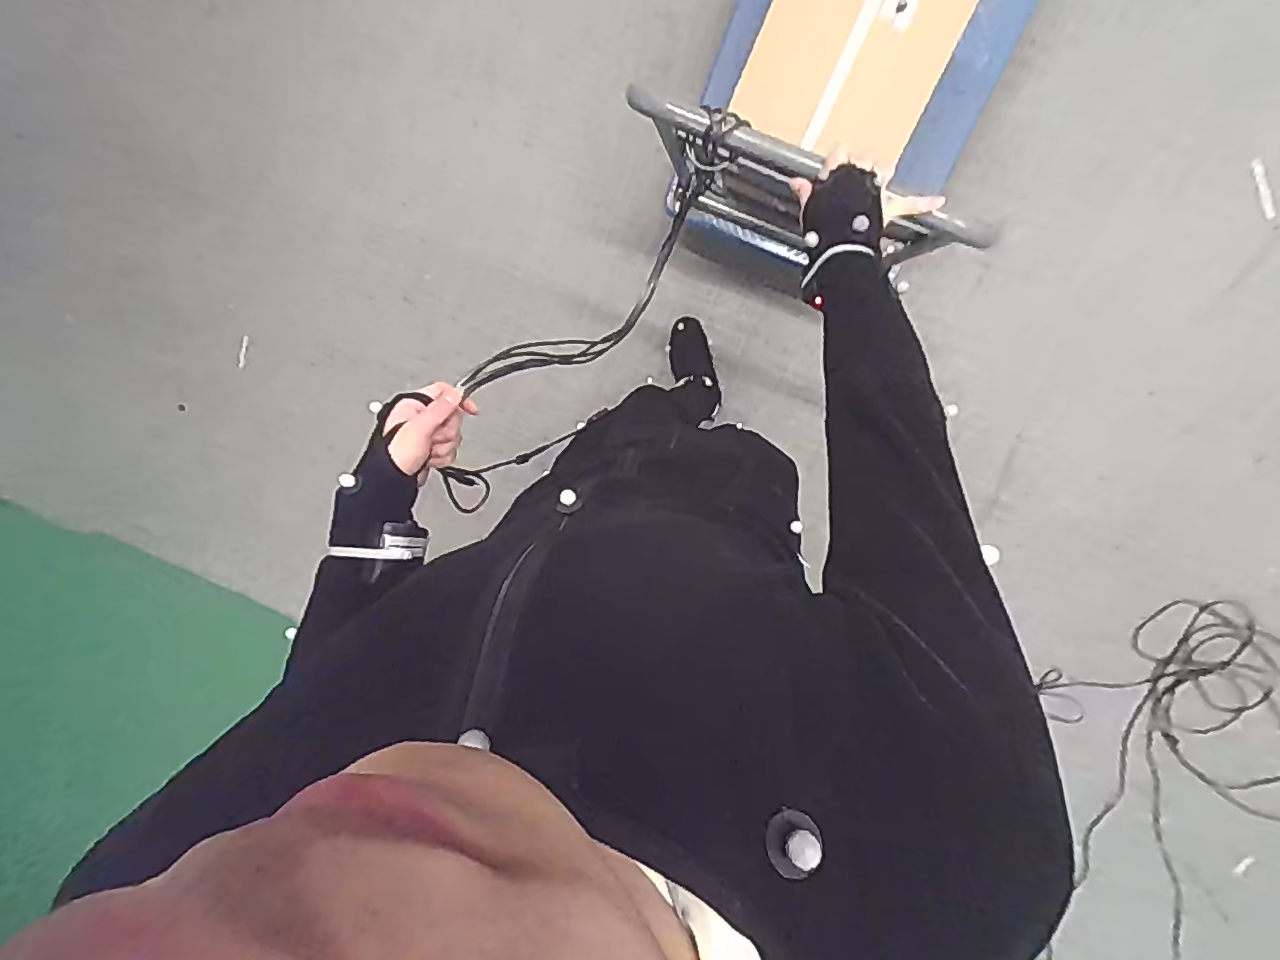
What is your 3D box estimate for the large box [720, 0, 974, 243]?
[{"bbox_3d":[0.383,-0.758,1.081,0.320,0.320,0.408,25,104,3],"label":"large box"}]
